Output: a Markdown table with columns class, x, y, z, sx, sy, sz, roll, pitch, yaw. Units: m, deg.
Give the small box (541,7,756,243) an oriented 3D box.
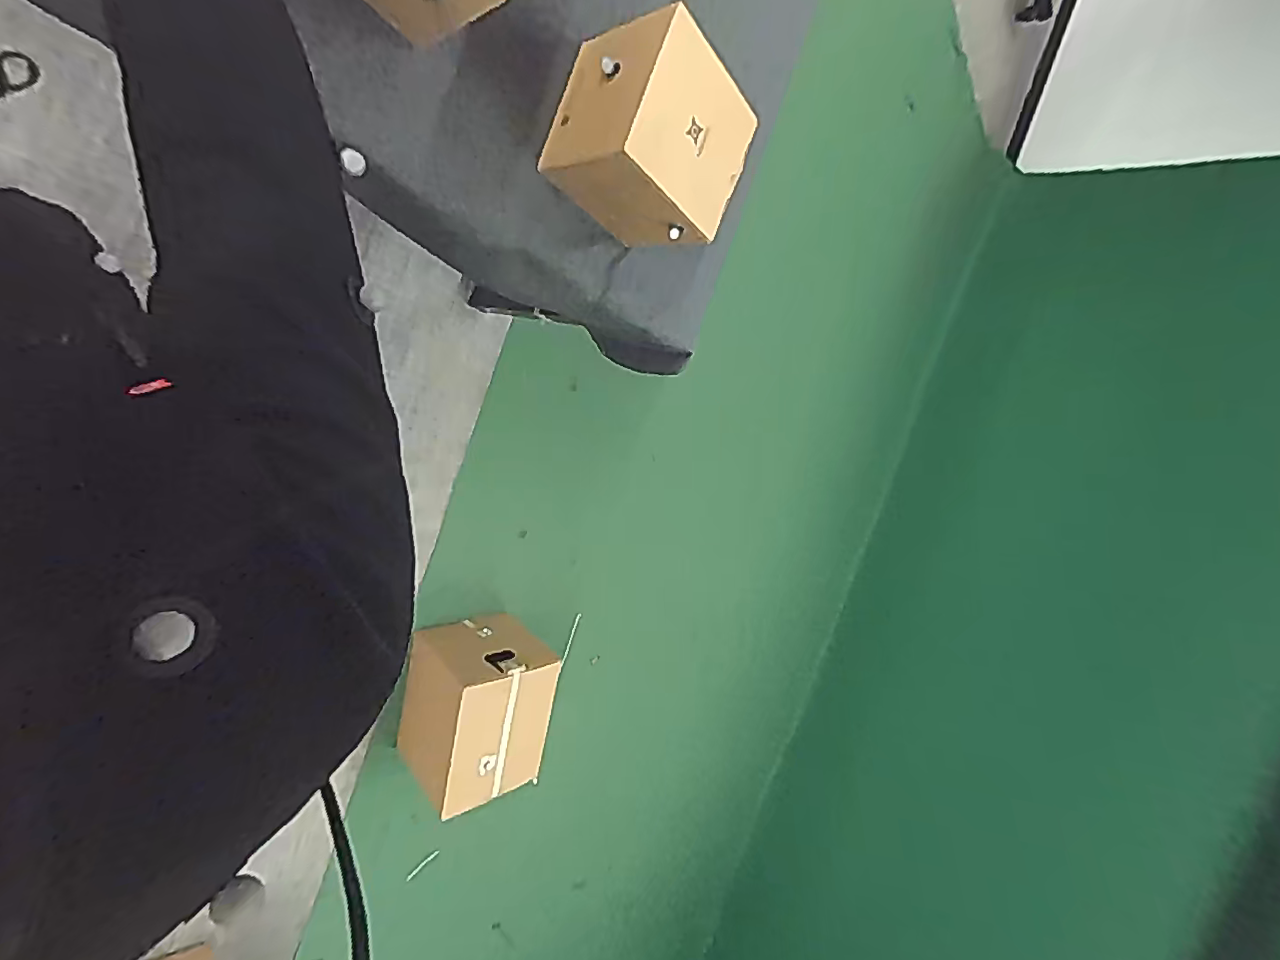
| class | x | y | z | sx | sy | sz | roll | pitch | yaw |
| --- | --- | --- | --- | --- | --- | --- | --- | --- | --- |
| small box | 0.008 | -0.411 | 0.668 | 0.179 | 0.176 | 0.168 | 20 | 92 | -49 |
